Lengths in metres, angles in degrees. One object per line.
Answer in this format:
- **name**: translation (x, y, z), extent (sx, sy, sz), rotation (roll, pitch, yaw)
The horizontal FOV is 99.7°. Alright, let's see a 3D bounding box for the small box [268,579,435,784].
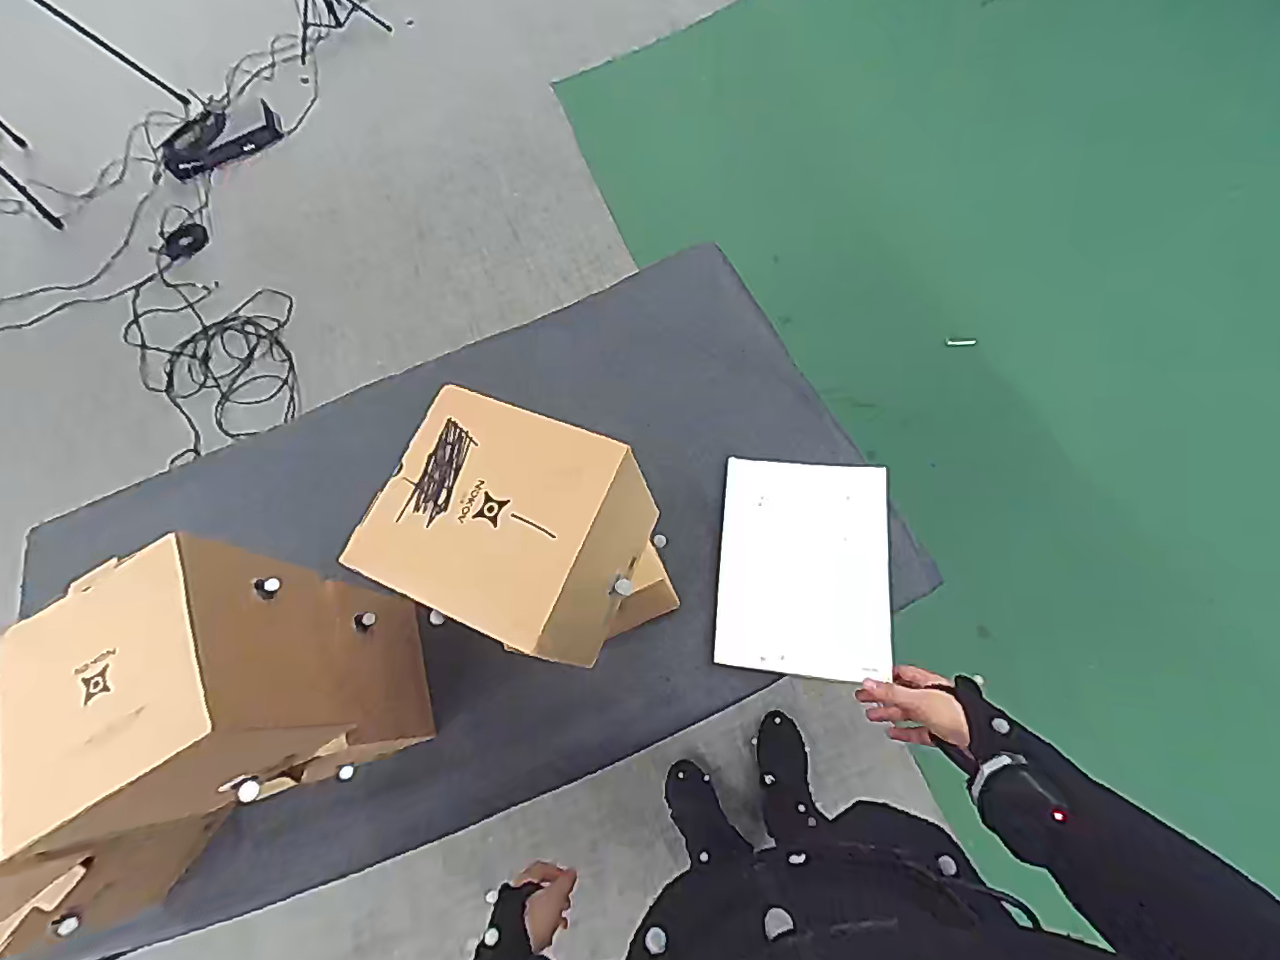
- **small box**: translation (-0.366, 0.239, 0.632), extent (0.168, 0.176, 0.179), rotation (-22, 67, 2)

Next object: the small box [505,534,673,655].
- **small box**: translation (-0.070, 0.092, 0.636), extent (0.179, 0.176, 0.168), rotation (-25, 66, 1)

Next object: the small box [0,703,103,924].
- **small box**: translation (-0.643, 0.319, 0.474), extent (0.179, 0.176, 0.168), rotation (-38, 67, -4)

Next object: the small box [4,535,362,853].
- **small box**: translation (-0.389, 0.181, 0.482), extent (0.168, 0.176, 0.179), rotation (-32, 67, -2)

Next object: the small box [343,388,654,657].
- **small box**: translation (-0.105, 0.048, 0.481), extent (0.179, 0.176, 0.168), rotation (19, 74, 17)
